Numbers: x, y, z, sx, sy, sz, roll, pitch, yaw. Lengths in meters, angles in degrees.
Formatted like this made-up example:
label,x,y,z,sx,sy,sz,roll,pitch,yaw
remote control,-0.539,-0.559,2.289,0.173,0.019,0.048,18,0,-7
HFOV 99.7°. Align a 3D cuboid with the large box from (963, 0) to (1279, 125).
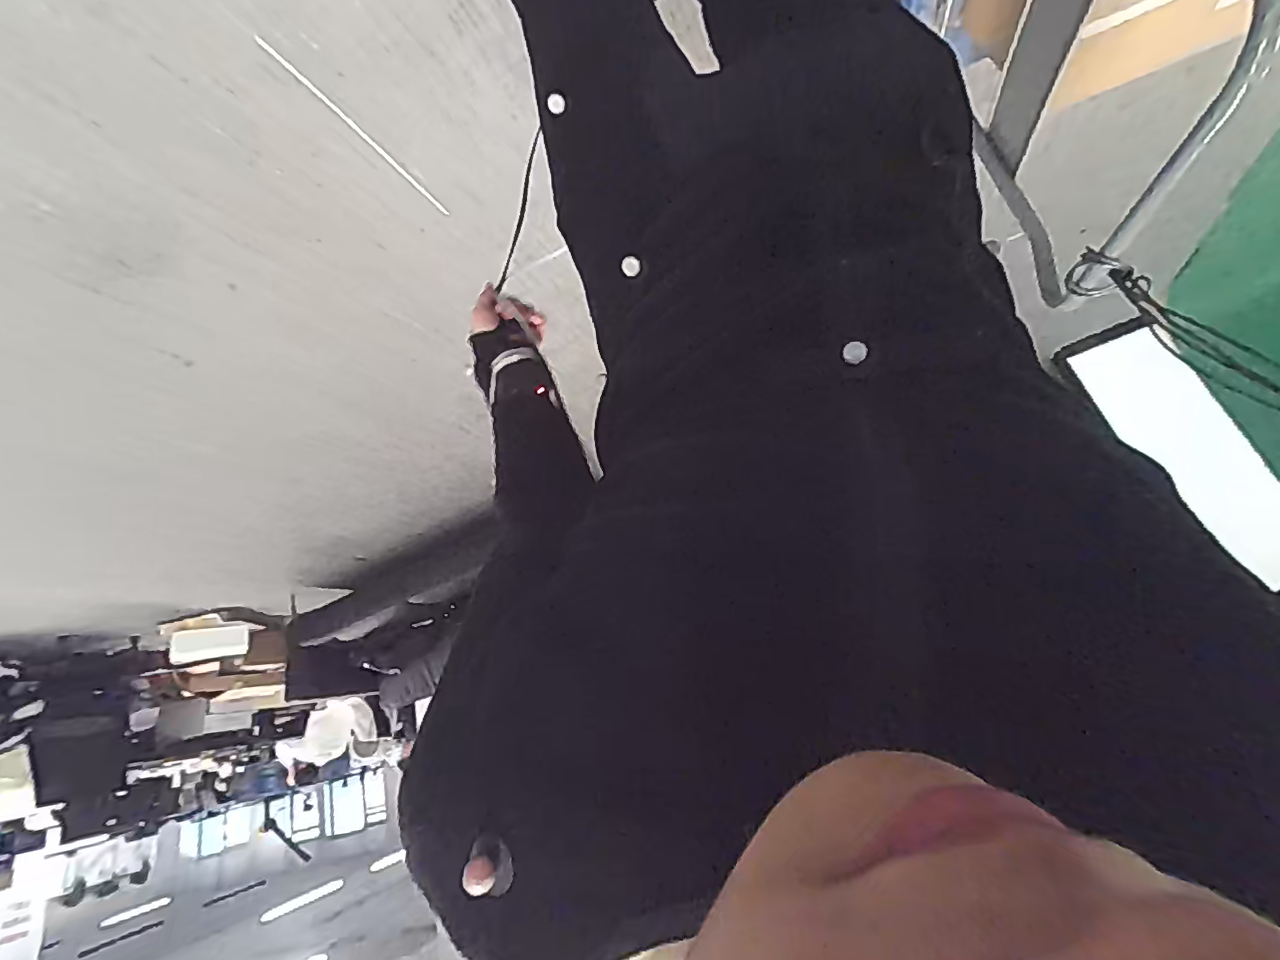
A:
label,x,y,z,sx,sy,sz,roll,pitch,yaw
large box,0.835,-0.900,0.886,0.408,0.320,0.320,-20,157,9
